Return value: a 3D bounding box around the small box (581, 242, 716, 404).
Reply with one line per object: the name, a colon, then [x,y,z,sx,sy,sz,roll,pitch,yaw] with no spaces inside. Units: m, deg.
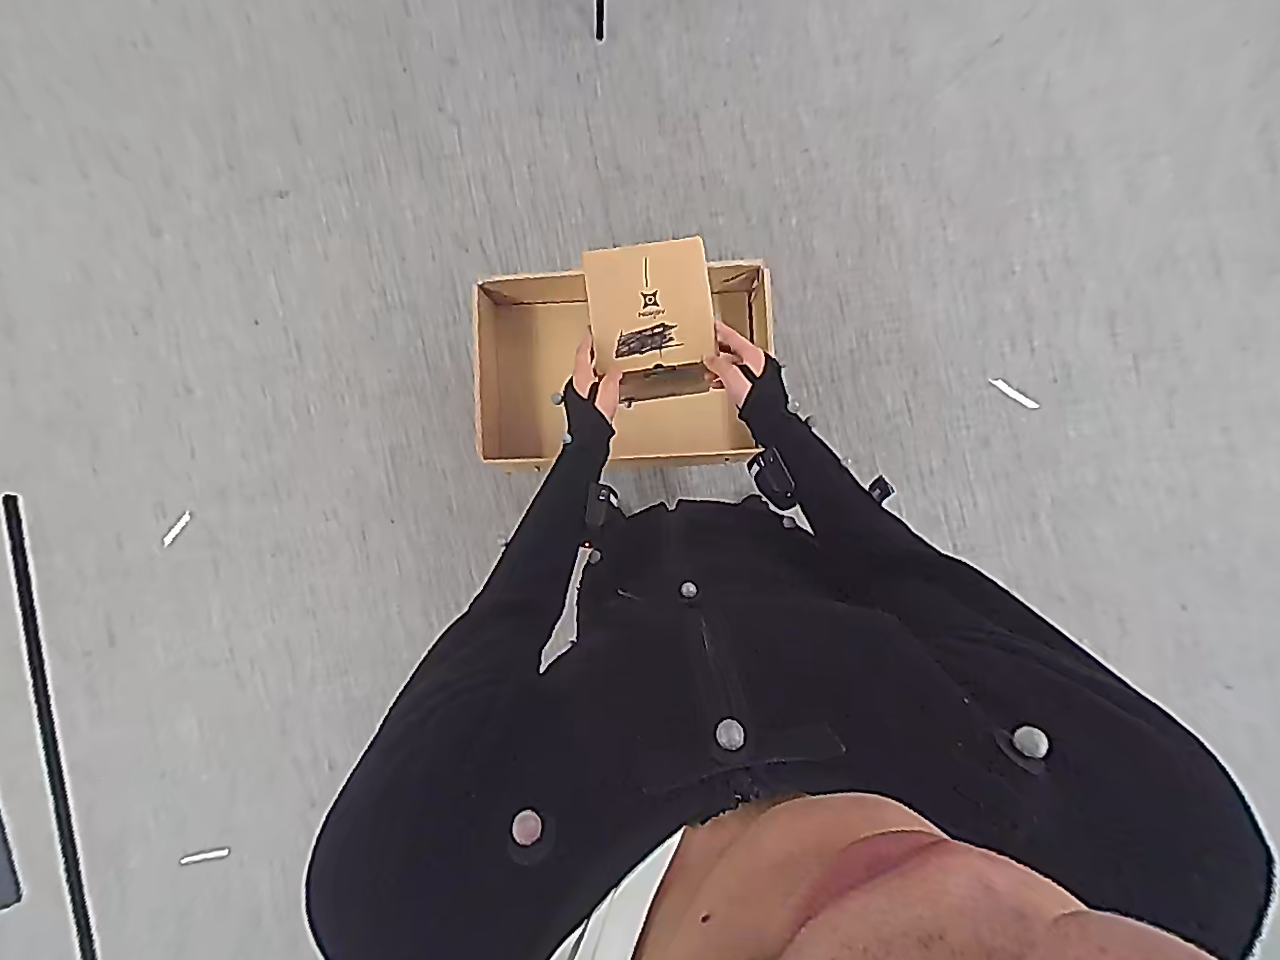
small box: [0.014,-0.217,0.795,0.168,0.176,0.179,-8,84,1]
